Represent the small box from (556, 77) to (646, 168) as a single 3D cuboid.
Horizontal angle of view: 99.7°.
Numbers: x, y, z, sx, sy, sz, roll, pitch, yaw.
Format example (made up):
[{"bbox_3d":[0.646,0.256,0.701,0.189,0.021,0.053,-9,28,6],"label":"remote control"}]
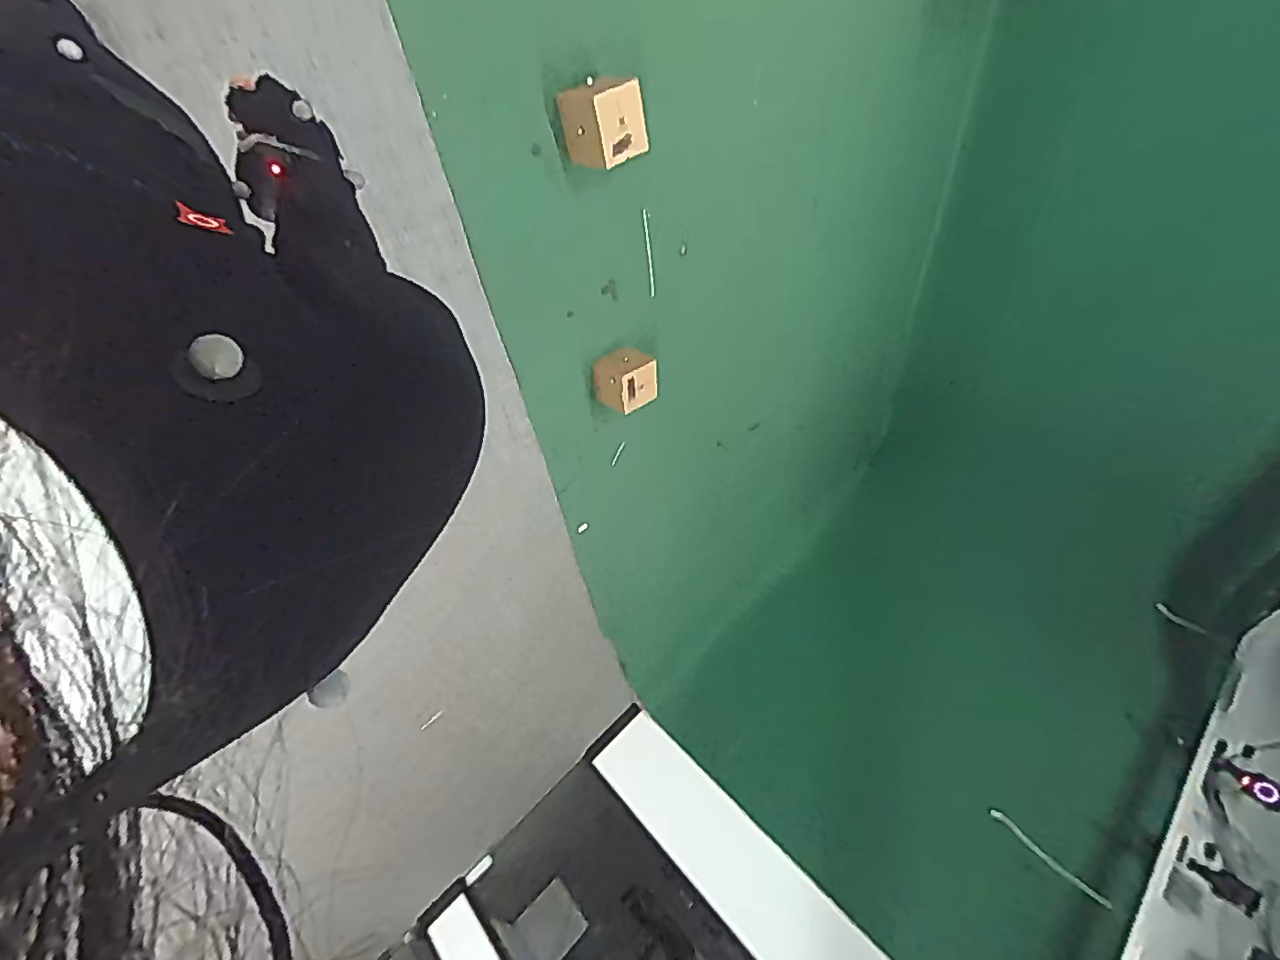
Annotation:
[{"bbox_3d":[-0.109,-1.003,1.514,0.168,0.176,0.179,-39,140,-23],"label":"small box"}]
